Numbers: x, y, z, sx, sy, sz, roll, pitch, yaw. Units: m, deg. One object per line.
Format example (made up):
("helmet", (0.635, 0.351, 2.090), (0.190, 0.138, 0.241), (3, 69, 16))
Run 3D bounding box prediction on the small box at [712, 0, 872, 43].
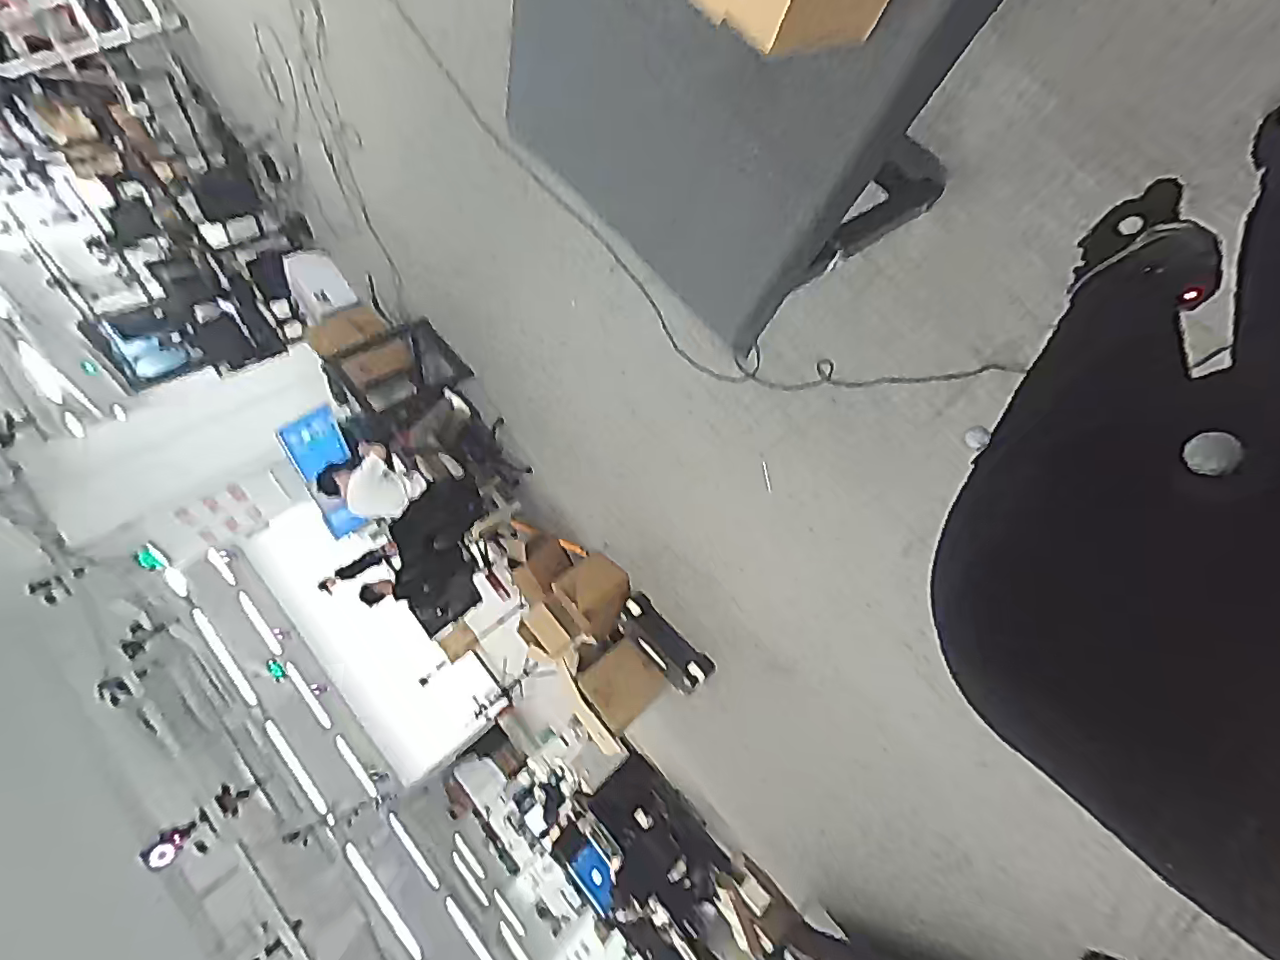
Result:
("small box", (0.136, -0.510, 0.443), (0.168, 0.176, 0.179), (49, 150, 10))
